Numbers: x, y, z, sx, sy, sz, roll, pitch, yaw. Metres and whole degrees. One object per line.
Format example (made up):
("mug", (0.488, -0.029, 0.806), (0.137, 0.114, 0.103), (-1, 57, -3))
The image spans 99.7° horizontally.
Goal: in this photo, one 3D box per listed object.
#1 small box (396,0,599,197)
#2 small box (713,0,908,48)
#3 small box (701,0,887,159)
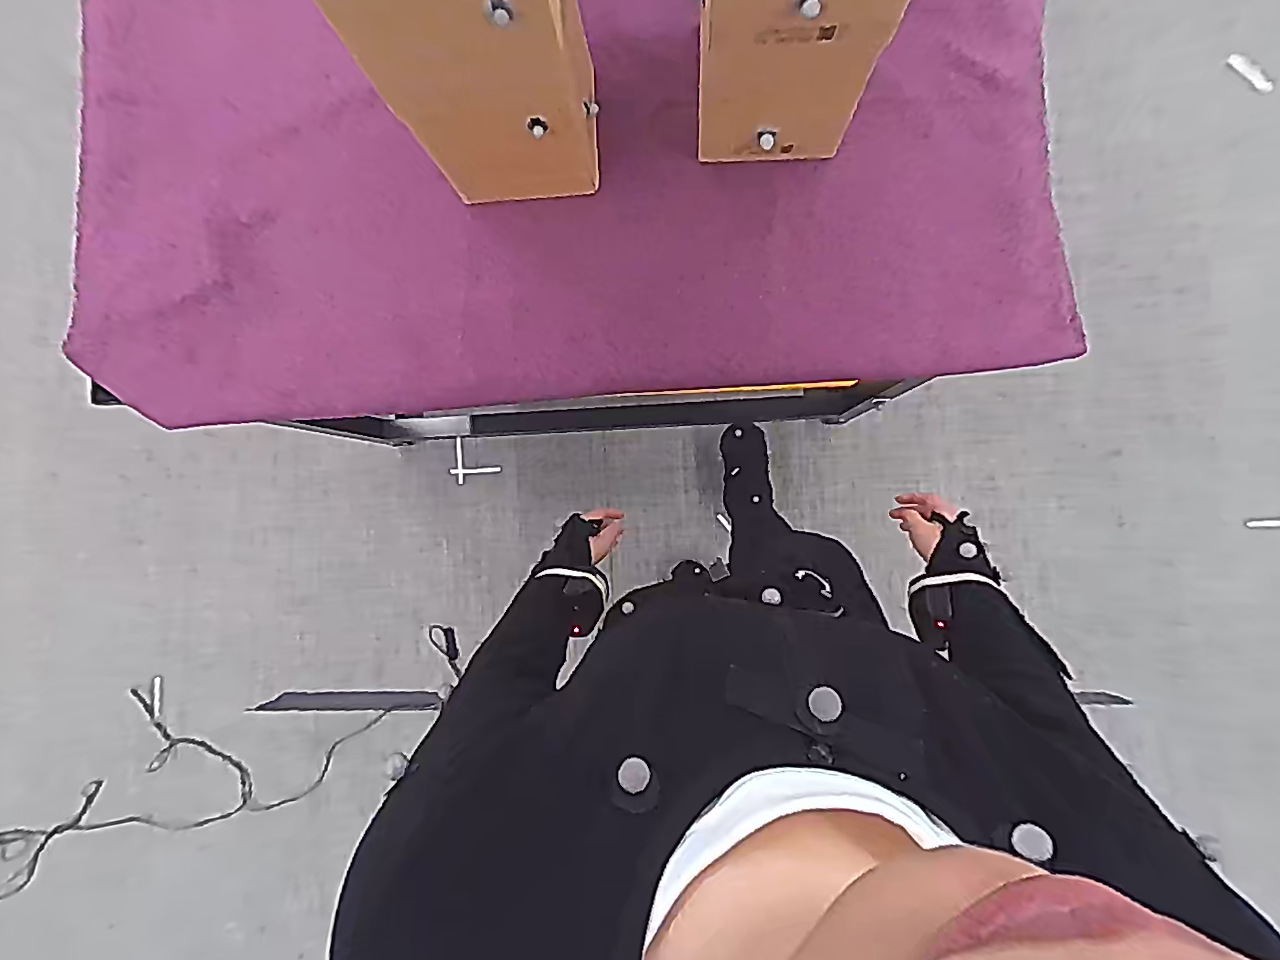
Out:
("small box", (-0.147, -0.442, 0.605), (0.179, 0.176, 0.168), (-3, 88, 4))
("small box", (0.142, -0.486, 0.417), (0.168, 0.176, 0.179), (1, 88, 5))
("small box", (0.152, -0.481, 0.582), (0.168, 0.176, 0.179), (1, 89, 5))
